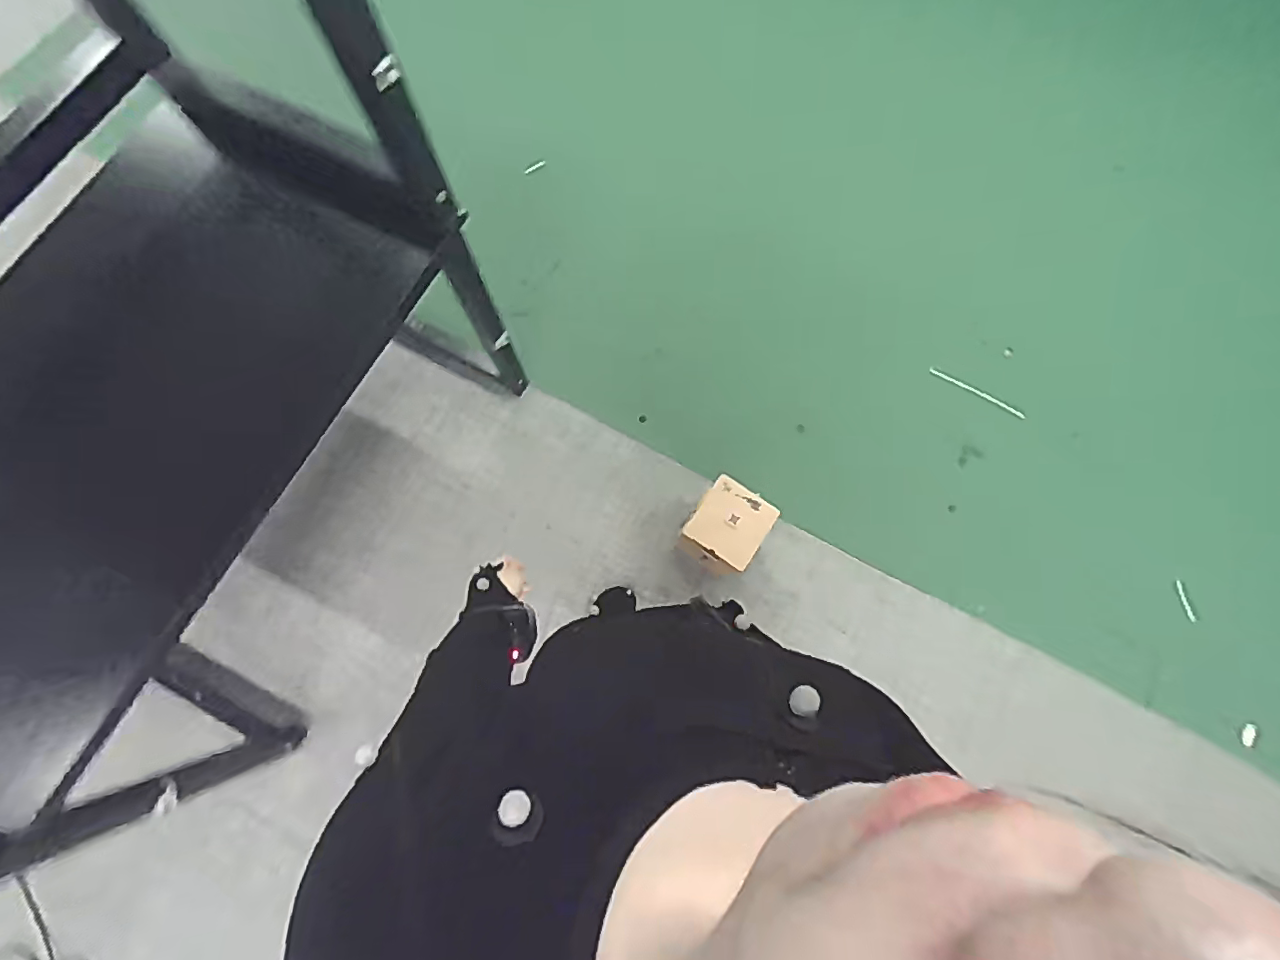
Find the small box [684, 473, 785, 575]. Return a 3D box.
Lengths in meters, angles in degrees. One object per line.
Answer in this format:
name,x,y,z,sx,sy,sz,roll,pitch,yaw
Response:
small box,0.217,0.114,1.298,0.168,0.176,0.179,34,79,8
